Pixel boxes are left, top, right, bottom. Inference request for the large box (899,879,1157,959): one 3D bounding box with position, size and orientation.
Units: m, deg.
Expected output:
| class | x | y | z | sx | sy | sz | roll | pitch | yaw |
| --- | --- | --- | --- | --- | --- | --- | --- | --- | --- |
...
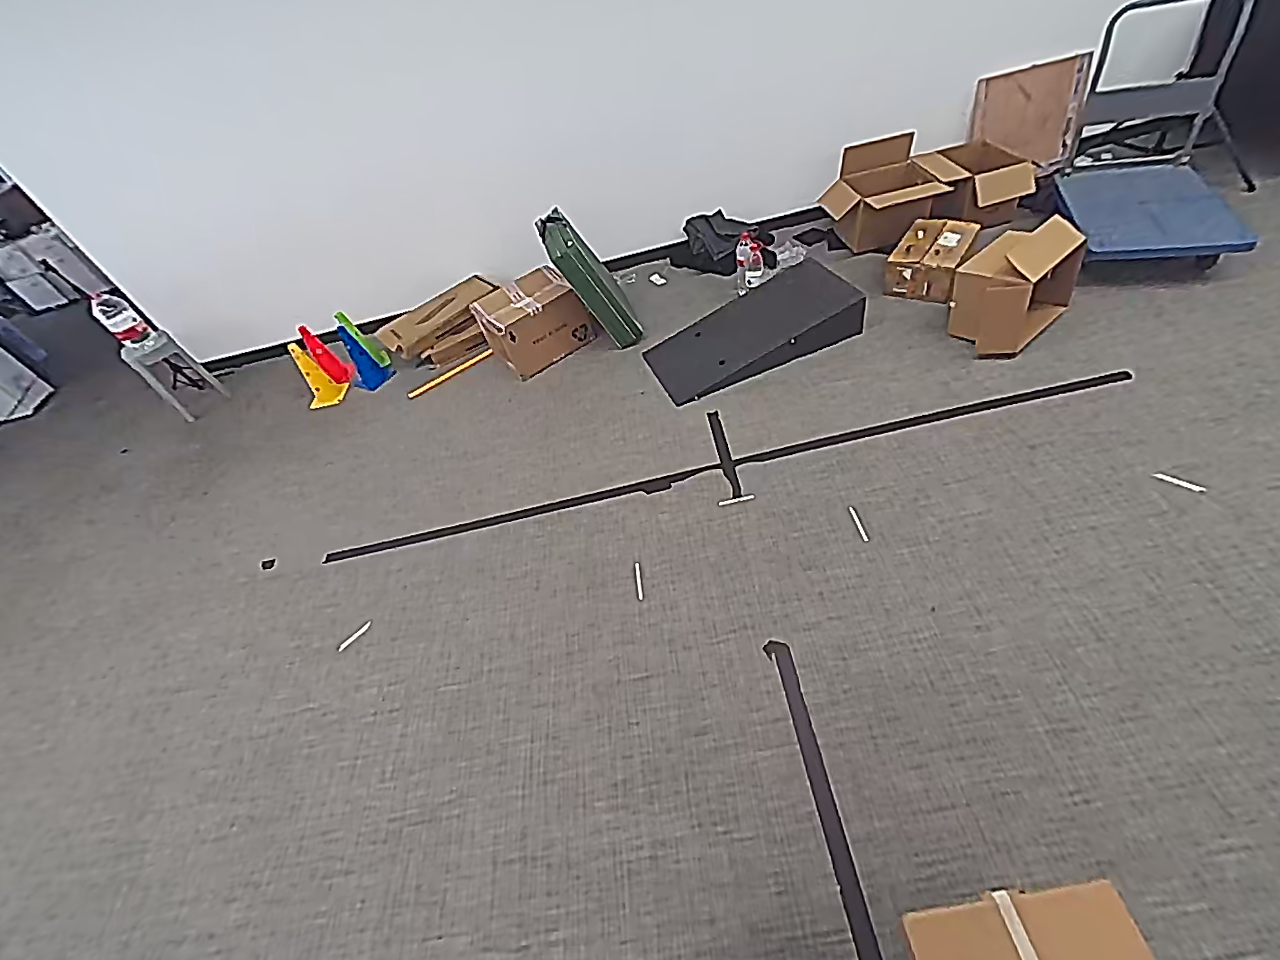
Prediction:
| class | x | y | z | sx | sy | sz | roll | pitch | yaw |
| --- | --- | --- | --- | --- | --- | --- | --- | --- | --- |
| large box | 0.637 | 0.883 | 0.814 | 0.320 | 0.320 | 0.408 | -18 | 47 | 9 |
